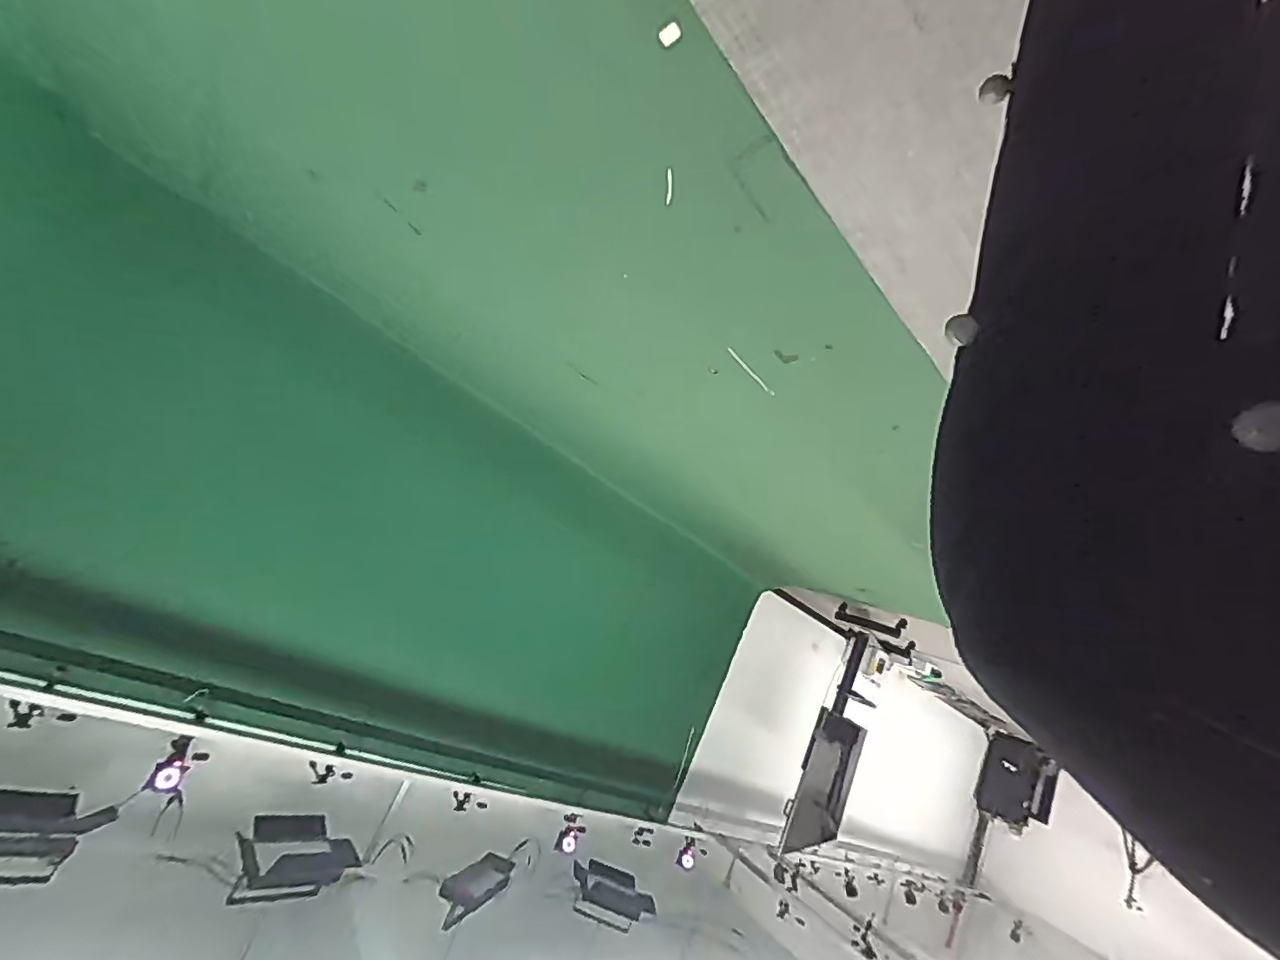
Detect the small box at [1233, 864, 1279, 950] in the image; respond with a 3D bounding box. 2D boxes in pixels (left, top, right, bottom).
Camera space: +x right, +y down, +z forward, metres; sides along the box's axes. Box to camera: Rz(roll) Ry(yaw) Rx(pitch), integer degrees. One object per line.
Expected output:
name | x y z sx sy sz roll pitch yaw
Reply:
small box | 1.749 1.183 1.465 0.179 0.176 0.168 36 161 -31
